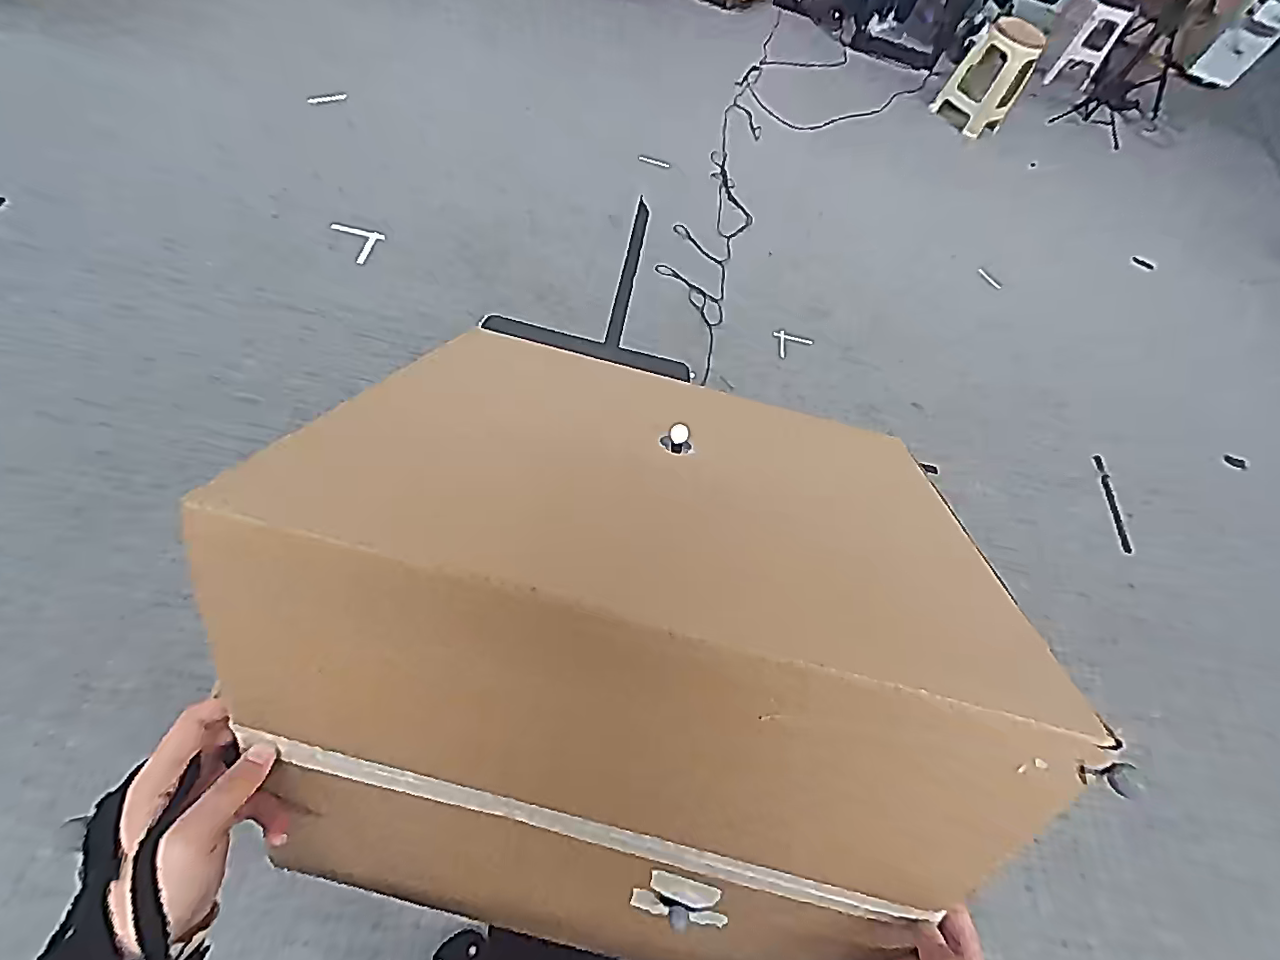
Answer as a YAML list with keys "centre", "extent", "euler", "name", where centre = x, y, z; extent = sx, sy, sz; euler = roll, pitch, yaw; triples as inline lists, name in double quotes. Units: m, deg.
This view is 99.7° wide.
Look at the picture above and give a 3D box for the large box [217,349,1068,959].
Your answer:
- centre: [-0.014, 0.116, 0.444]
  extent: [0.408, 0.320, 0.320]
  euler: [14, 30, 0]
  name: "large box"
